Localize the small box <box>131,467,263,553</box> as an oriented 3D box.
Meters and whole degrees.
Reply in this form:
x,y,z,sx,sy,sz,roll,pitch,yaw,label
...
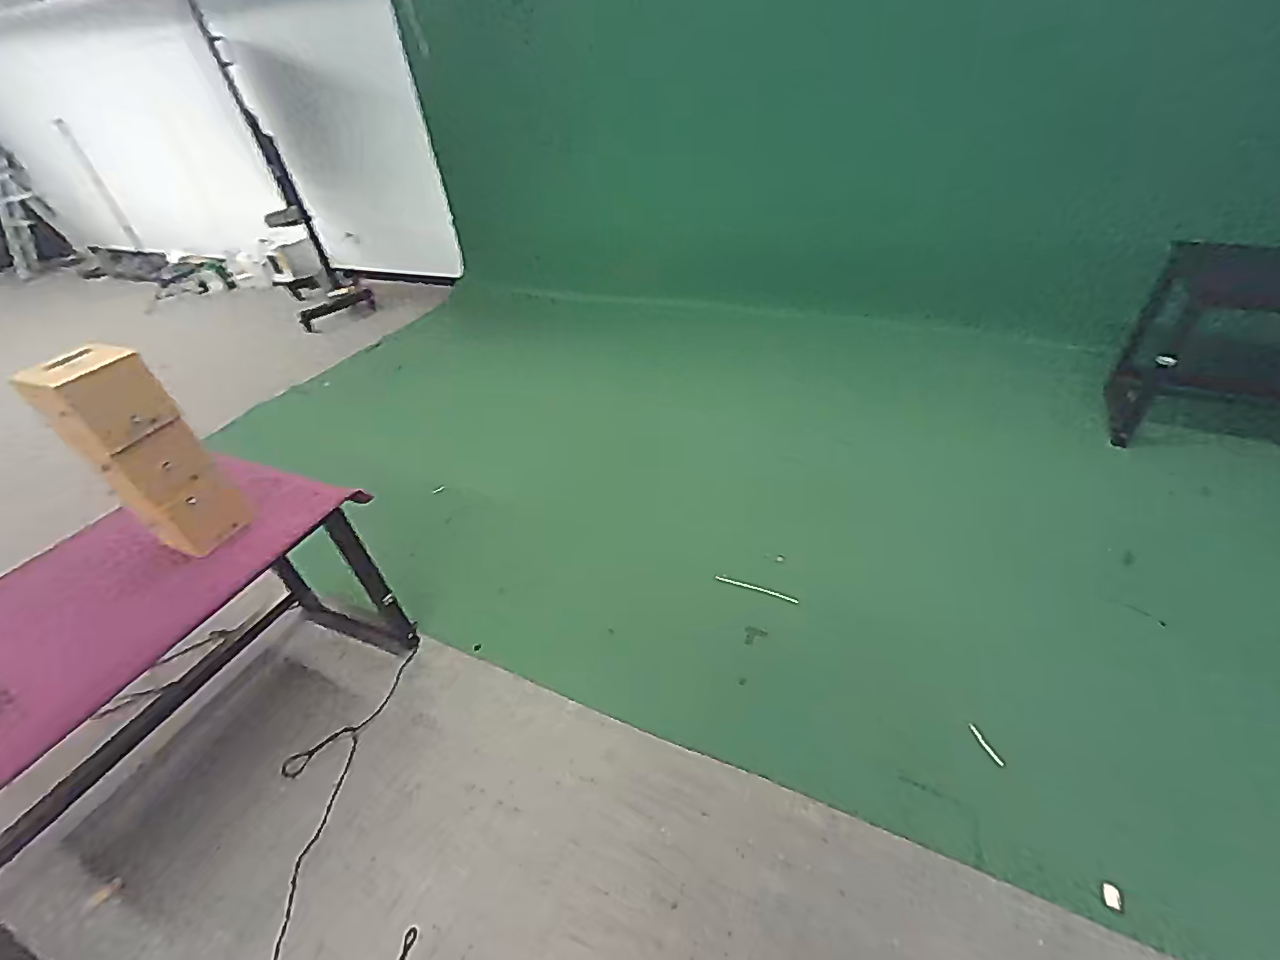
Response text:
x,y,z,sx,sy,sz,roll,pitch,yaw,label
-1.148,0.068,1.414,0.179,0.176,0.168,11,44,22,small box

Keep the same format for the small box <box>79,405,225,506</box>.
x,y,z,sx,sy,sz,roll,pitch,yaw,label
-1.167,-0.058,1.309,0.179,0.176,0.168,12,43,23,small box
